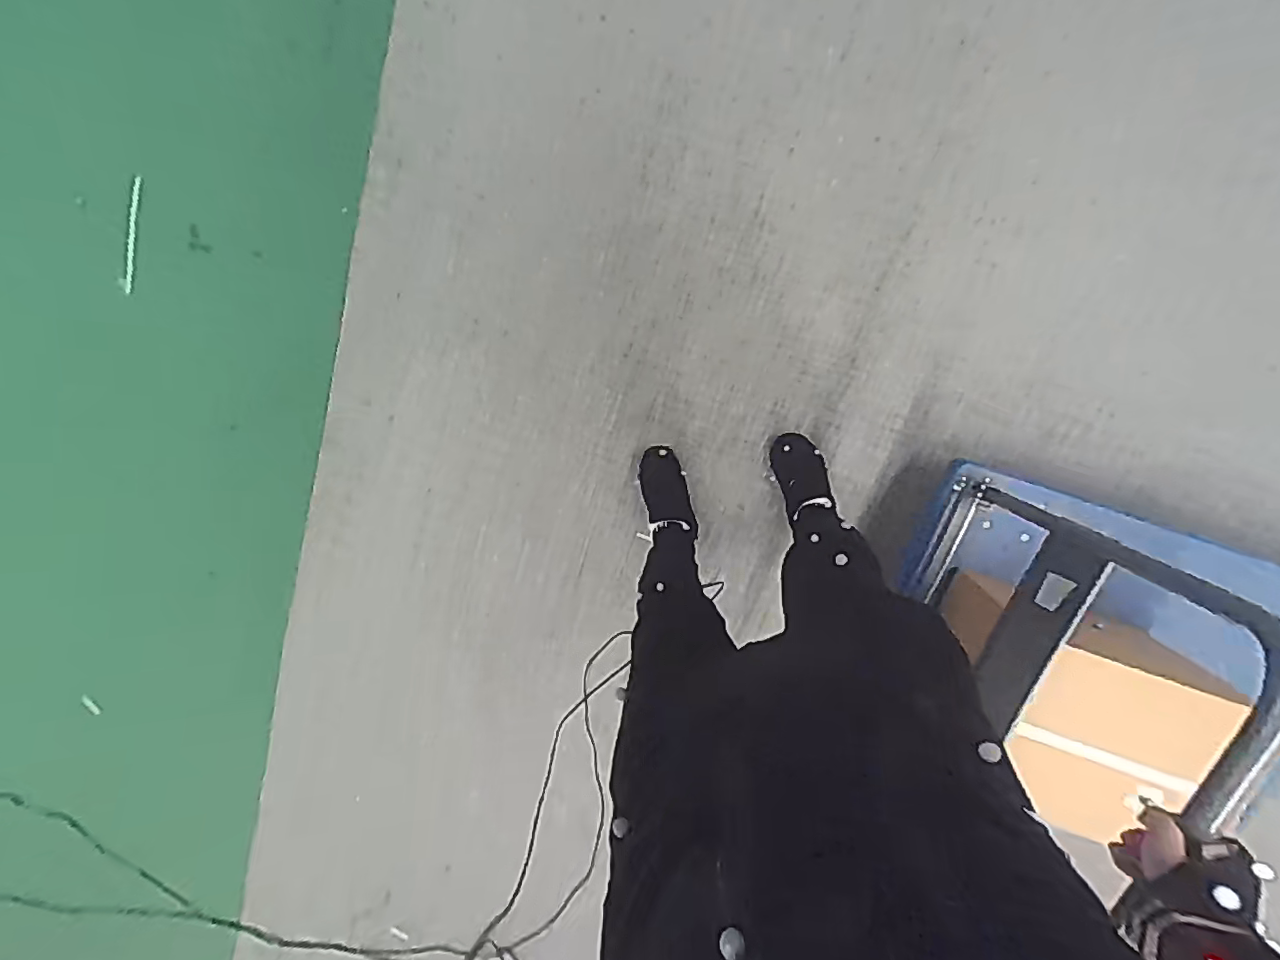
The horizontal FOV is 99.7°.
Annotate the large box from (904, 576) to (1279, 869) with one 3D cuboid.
[{"bbox_3d":[0.802,0.428,1.036,0.408,0.320,0.320,19,104,5],"label":"large box"}]
